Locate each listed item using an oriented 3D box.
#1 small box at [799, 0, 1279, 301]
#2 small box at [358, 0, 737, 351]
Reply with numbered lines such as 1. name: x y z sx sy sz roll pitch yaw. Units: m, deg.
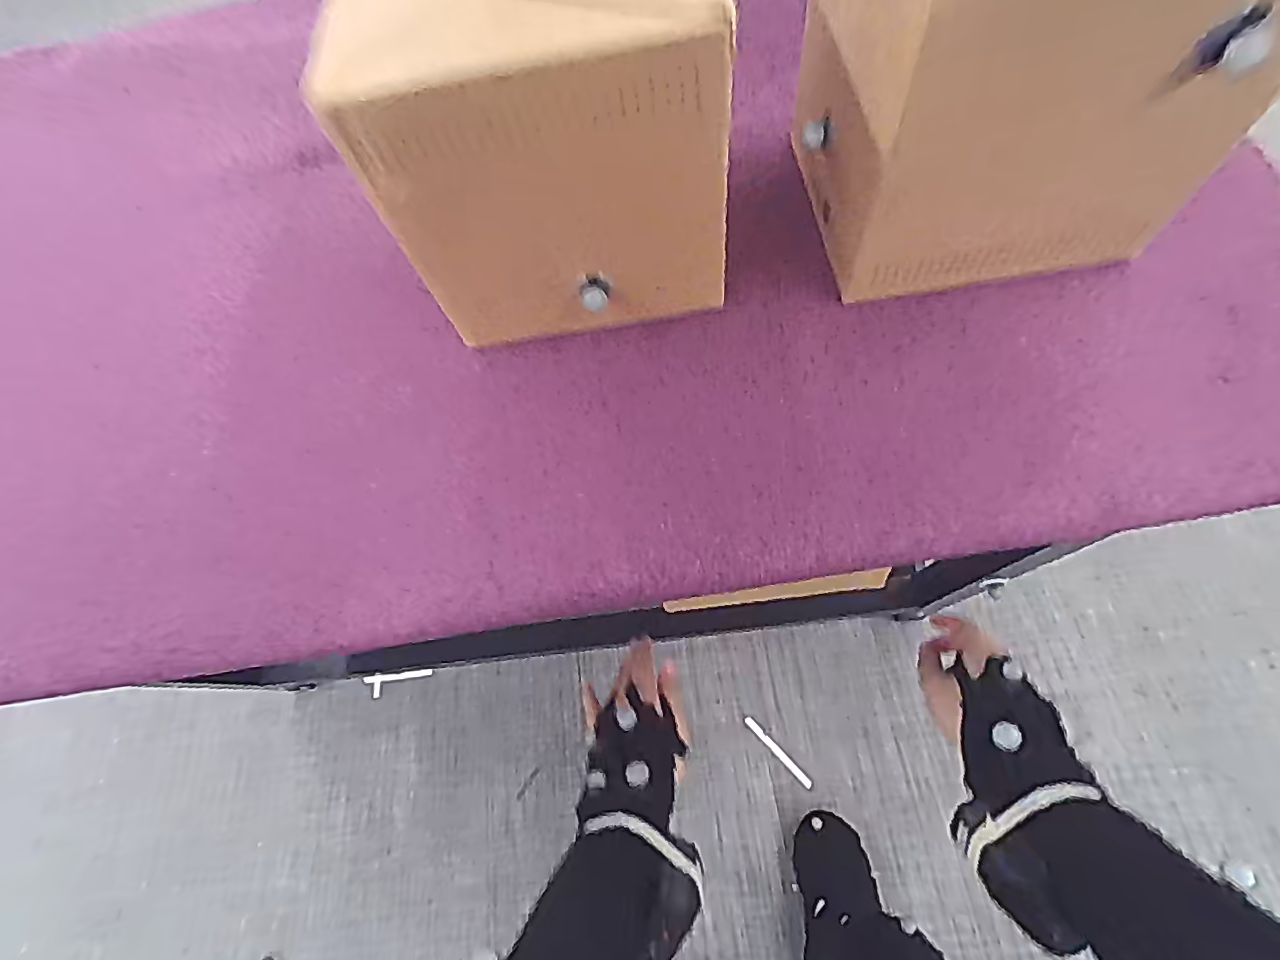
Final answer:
1. small box: 0.201 -0.226 0.301 0.179 0.176 0.168 -8 65 5
2. small box: -0.043 -0.204 0.324 0.179 0.176 0.168 -8 66 5
